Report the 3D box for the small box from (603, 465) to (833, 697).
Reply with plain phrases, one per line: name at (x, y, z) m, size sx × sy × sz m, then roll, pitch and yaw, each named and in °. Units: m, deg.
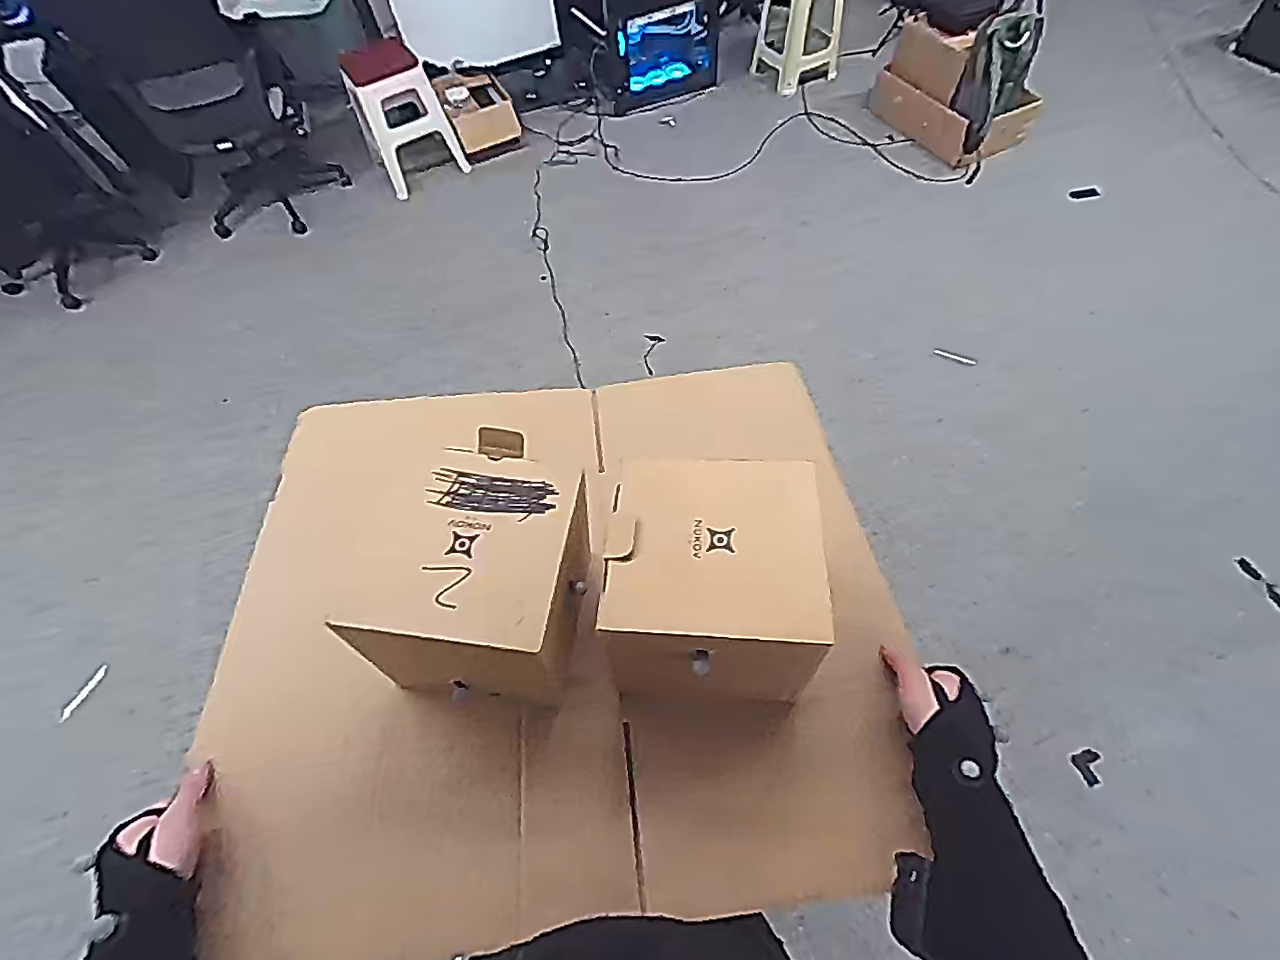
small box at (0.072, 0.101, 0.518) m, size 0.179 × 0.176 × 0.168 m, roll 1°, pitch 55°, yaw 8°
